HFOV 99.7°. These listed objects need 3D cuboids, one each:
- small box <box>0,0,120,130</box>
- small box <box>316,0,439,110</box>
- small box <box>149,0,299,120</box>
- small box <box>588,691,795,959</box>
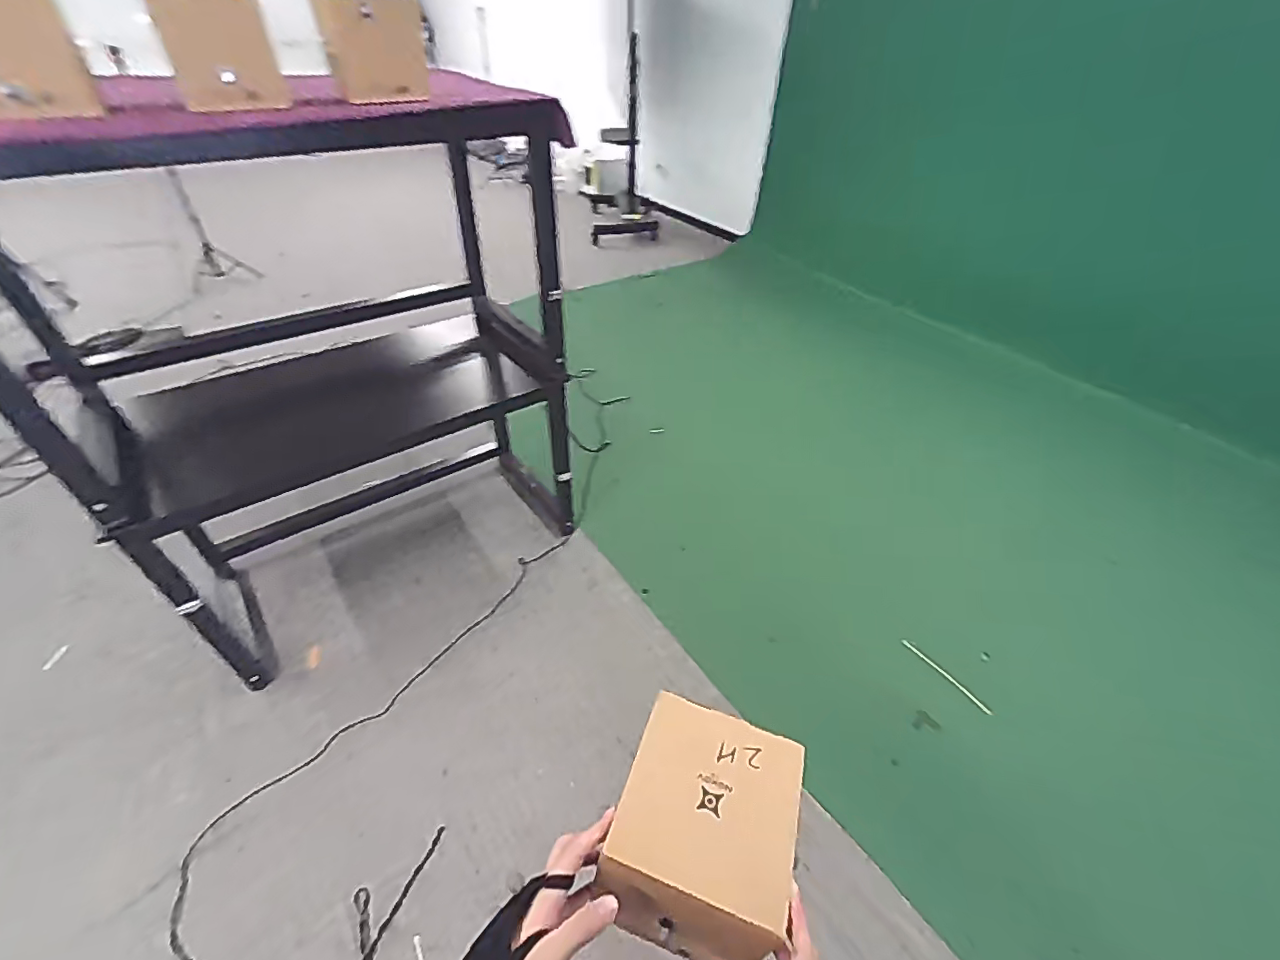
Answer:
[{"bbox_3d":[-0.978,-0.666,0.858,0.168,0.176,0.179,-23,47,-25],"label":"small box"},{"bbox_3d":[-0.538,-0.874,1.118,0.168,0.176,0.179,-24,46,-26],"label":"small box"},{"bbox_3d":[-0.753,-0.768,0.986,0.168,0.176,0.179,-24,48,-27],"label":"small box"},{"bbox_3d":[0.052,0.369,0.572,0.168,0.176,0.179,18,37,11],"label":"small box"}]
